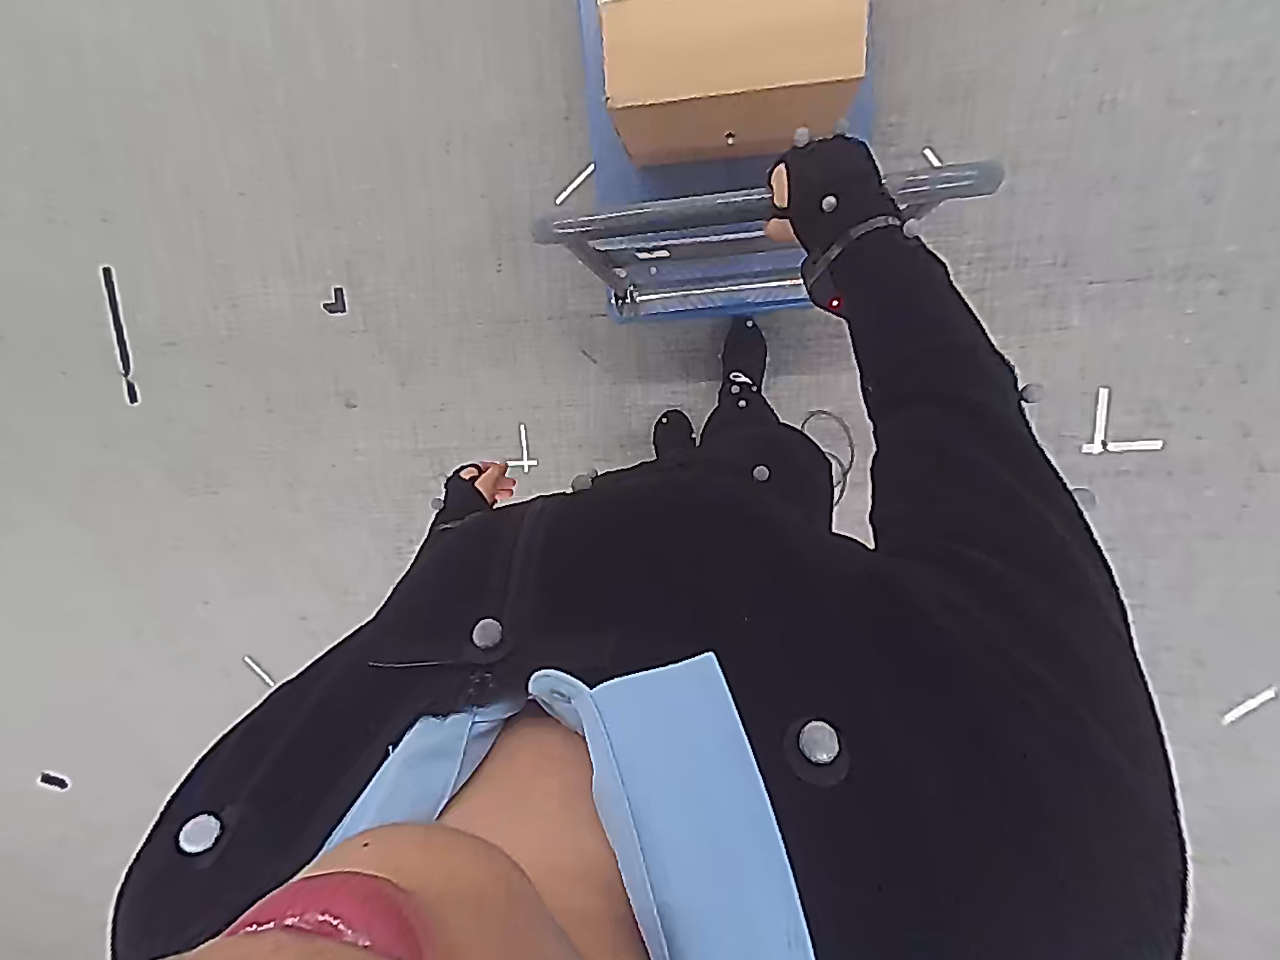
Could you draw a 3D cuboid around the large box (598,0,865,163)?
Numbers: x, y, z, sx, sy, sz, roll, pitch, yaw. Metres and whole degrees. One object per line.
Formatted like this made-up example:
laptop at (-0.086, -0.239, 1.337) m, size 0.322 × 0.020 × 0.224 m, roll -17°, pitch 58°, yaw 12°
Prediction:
large box at (0.153, -0.795, 0.951) m, size 0.408 × 0.320 × 0.320 m, roll -1°, pitch 102°, yaw 10°
